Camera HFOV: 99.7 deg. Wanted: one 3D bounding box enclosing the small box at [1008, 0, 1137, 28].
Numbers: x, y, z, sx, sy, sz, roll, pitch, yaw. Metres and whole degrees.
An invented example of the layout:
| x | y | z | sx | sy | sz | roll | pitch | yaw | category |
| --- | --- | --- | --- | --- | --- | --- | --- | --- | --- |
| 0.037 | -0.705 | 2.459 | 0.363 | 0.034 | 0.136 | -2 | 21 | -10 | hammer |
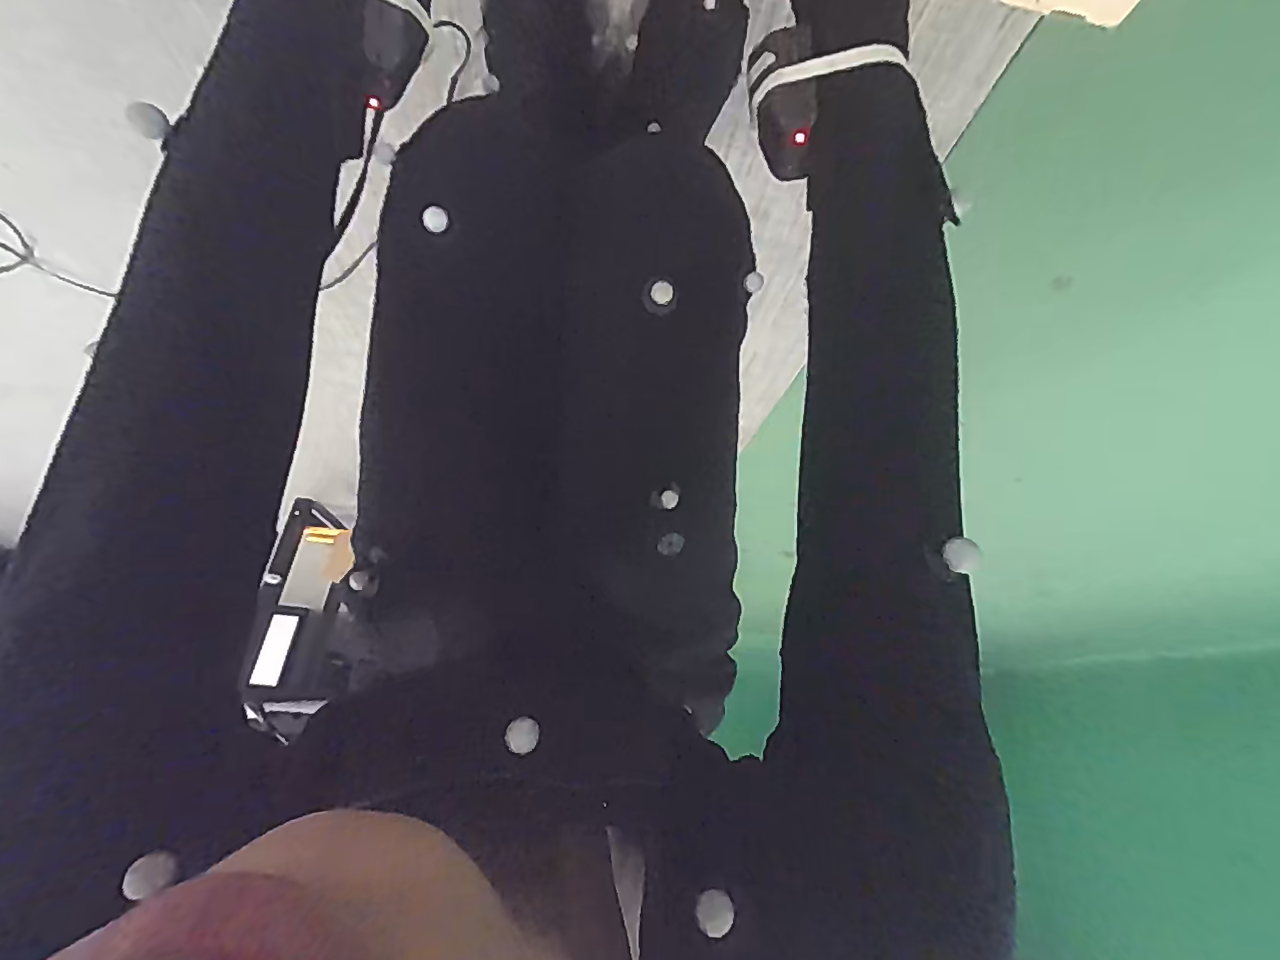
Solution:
| x | y | z | sx | sy | sz | roll | pitch | yaw | category |
| --- | --- | --- | --- | --- | --- | --- | --- | --- | --- |
| 0.329 | -0.489 | 0.390 | 0.168 | 0.176 | 0.179 | 9 | 155 | -7 | small box |
